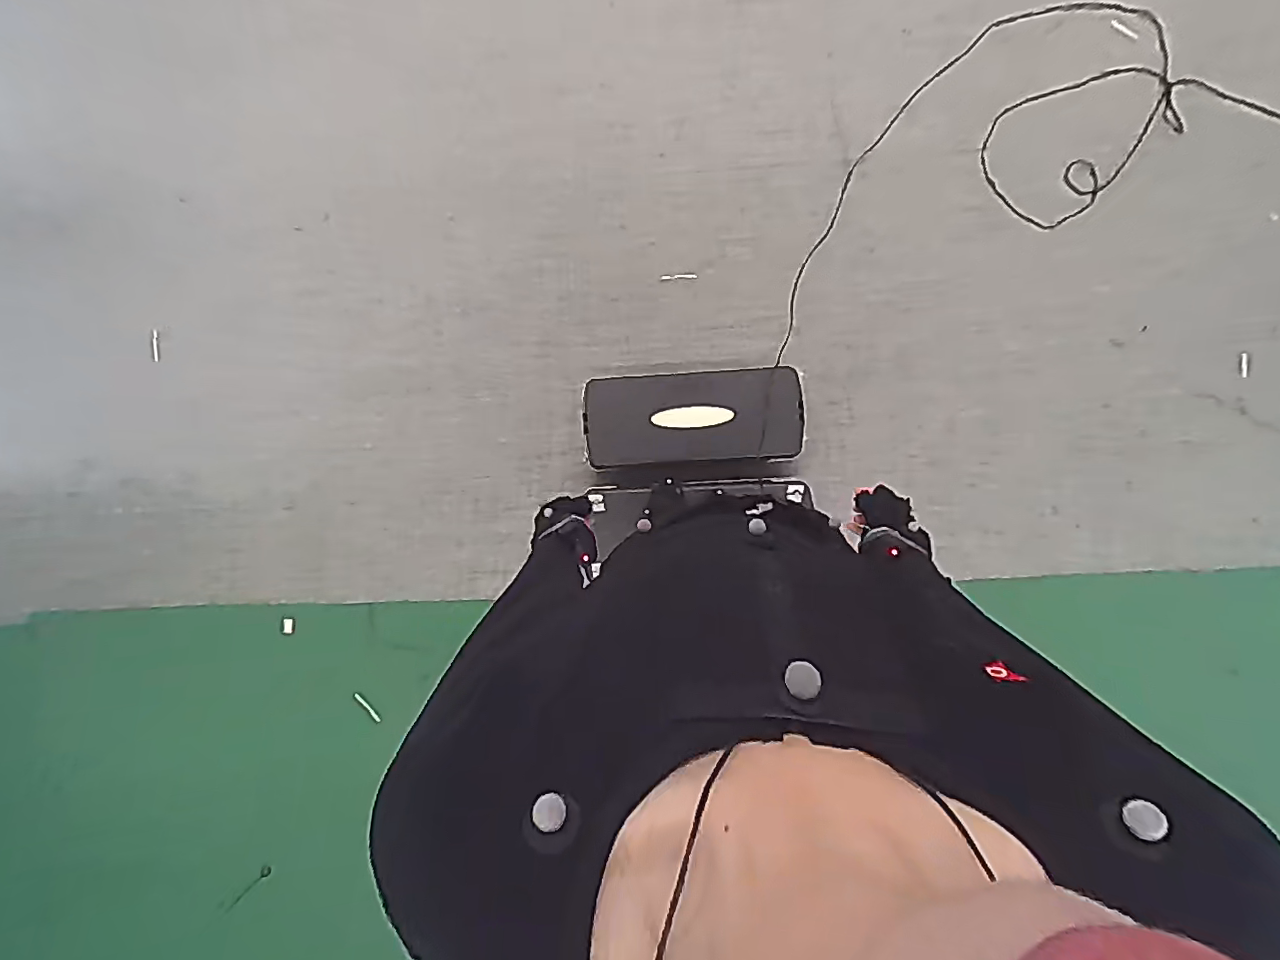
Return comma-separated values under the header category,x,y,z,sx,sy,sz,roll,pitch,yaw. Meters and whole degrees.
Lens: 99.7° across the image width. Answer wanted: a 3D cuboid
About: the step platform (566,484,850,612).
category,x,y,z,sx,sy,sz,roll,pitch,yaw
step platform,0.162,0.168,1.390,0.684,0.204,0.286,-3,89,2
